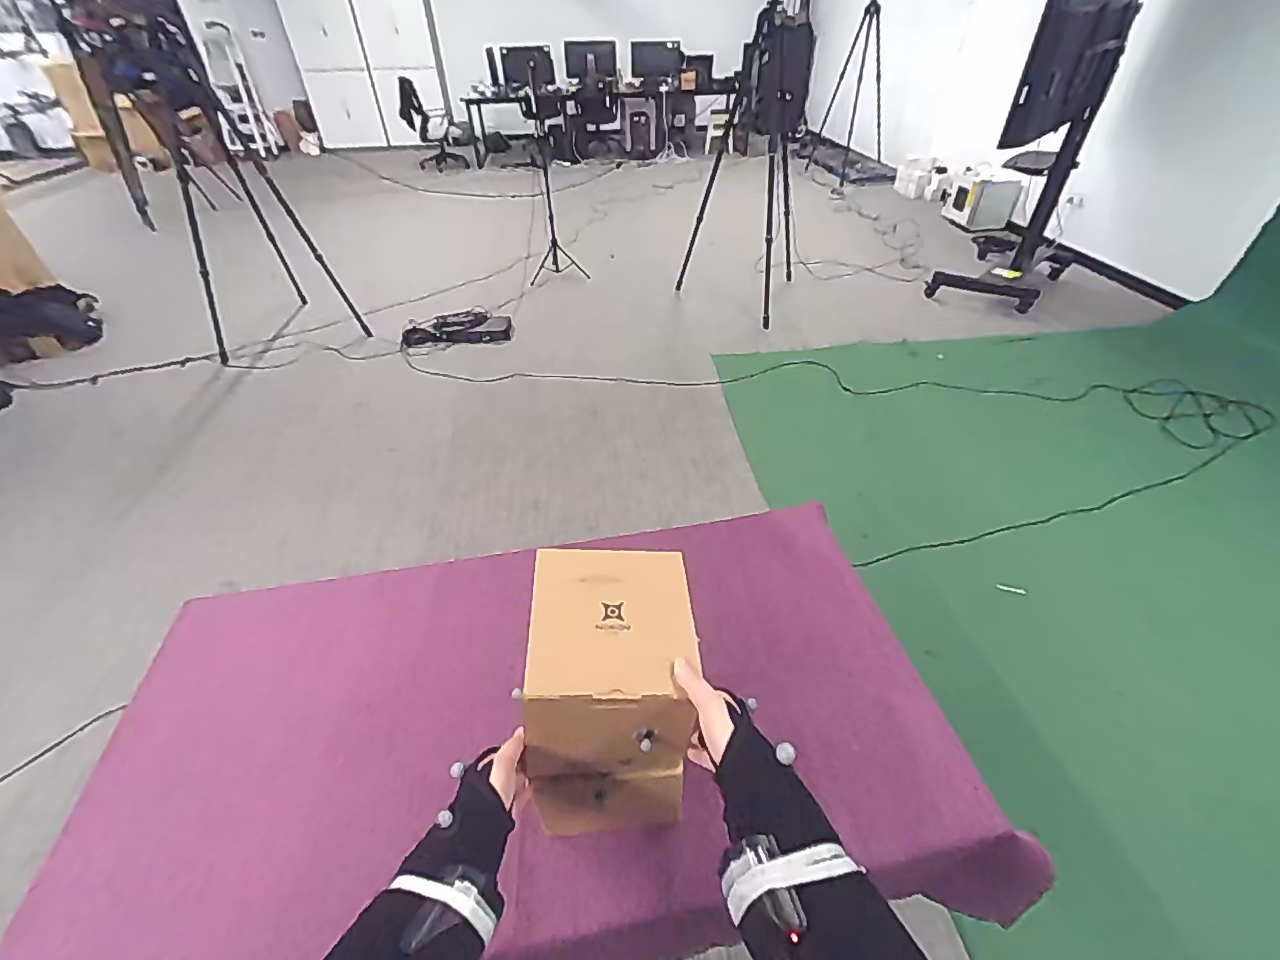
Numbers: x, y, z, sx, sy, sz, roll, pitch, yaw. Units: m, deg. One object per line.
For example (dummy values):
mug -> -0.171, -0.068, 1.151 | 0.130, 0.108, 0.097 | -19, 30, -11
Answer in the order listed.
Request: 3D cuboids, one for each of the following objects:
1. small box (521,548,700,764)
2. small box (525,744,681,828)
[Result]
small box -> -0.037, 0.196, 0.599 | 0.168, 0.176, 0.179 | 2, 40, -7
small box -> -0.042, 0.333, 0.705 | 0.179, 0.176, 0.168 | -4, 42, -2
